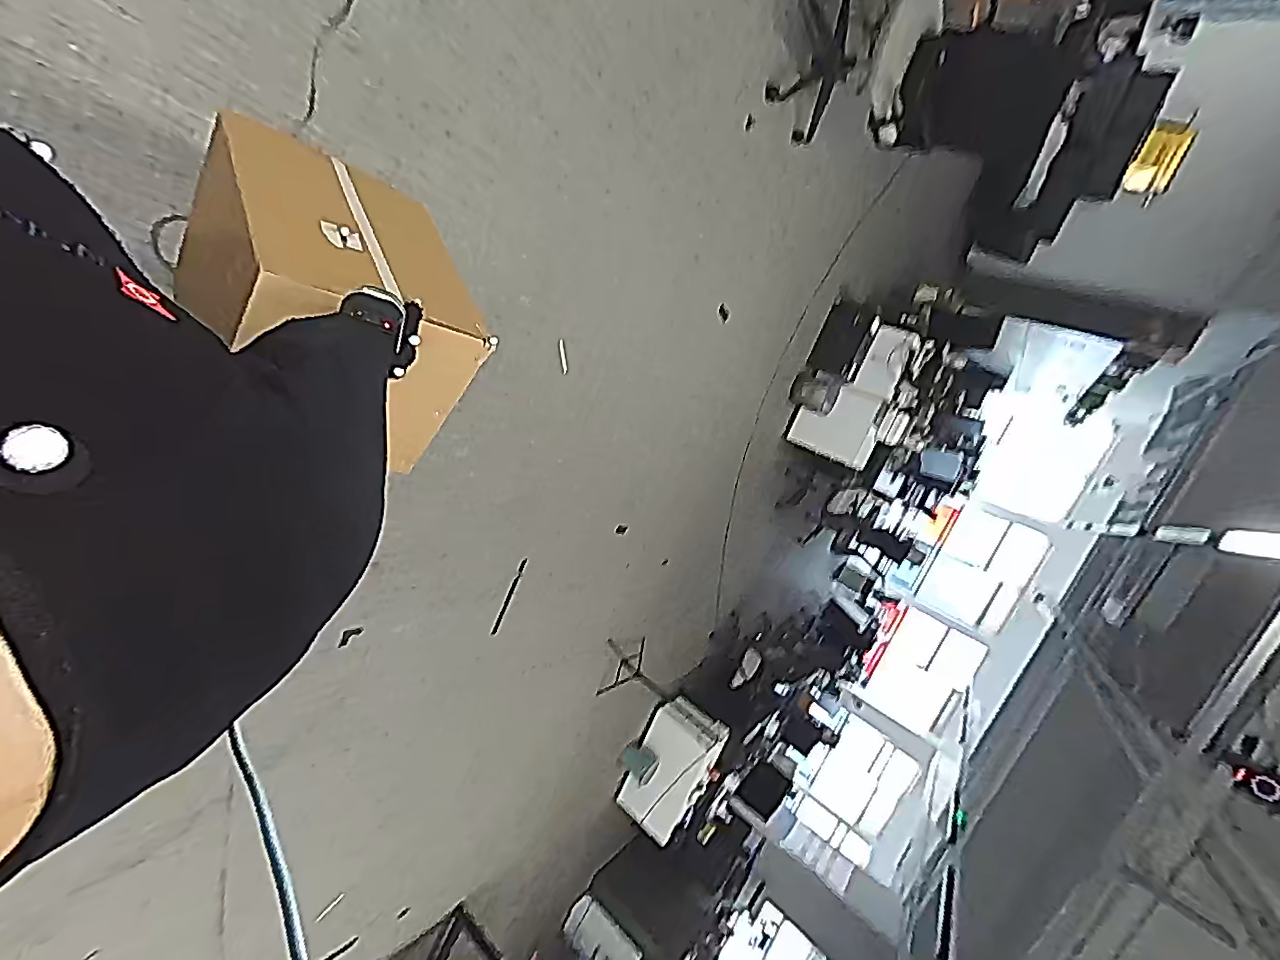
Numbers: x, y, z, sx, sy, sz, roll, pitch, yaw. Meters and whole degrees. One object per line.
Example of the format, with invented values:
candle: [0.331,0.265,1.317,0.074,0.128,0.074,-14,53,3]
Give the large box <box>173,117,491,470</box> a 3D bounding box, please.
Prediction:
large box: [-0.515,-0.274,0.886,0.320,0.408,0.320,6,136,-51]
